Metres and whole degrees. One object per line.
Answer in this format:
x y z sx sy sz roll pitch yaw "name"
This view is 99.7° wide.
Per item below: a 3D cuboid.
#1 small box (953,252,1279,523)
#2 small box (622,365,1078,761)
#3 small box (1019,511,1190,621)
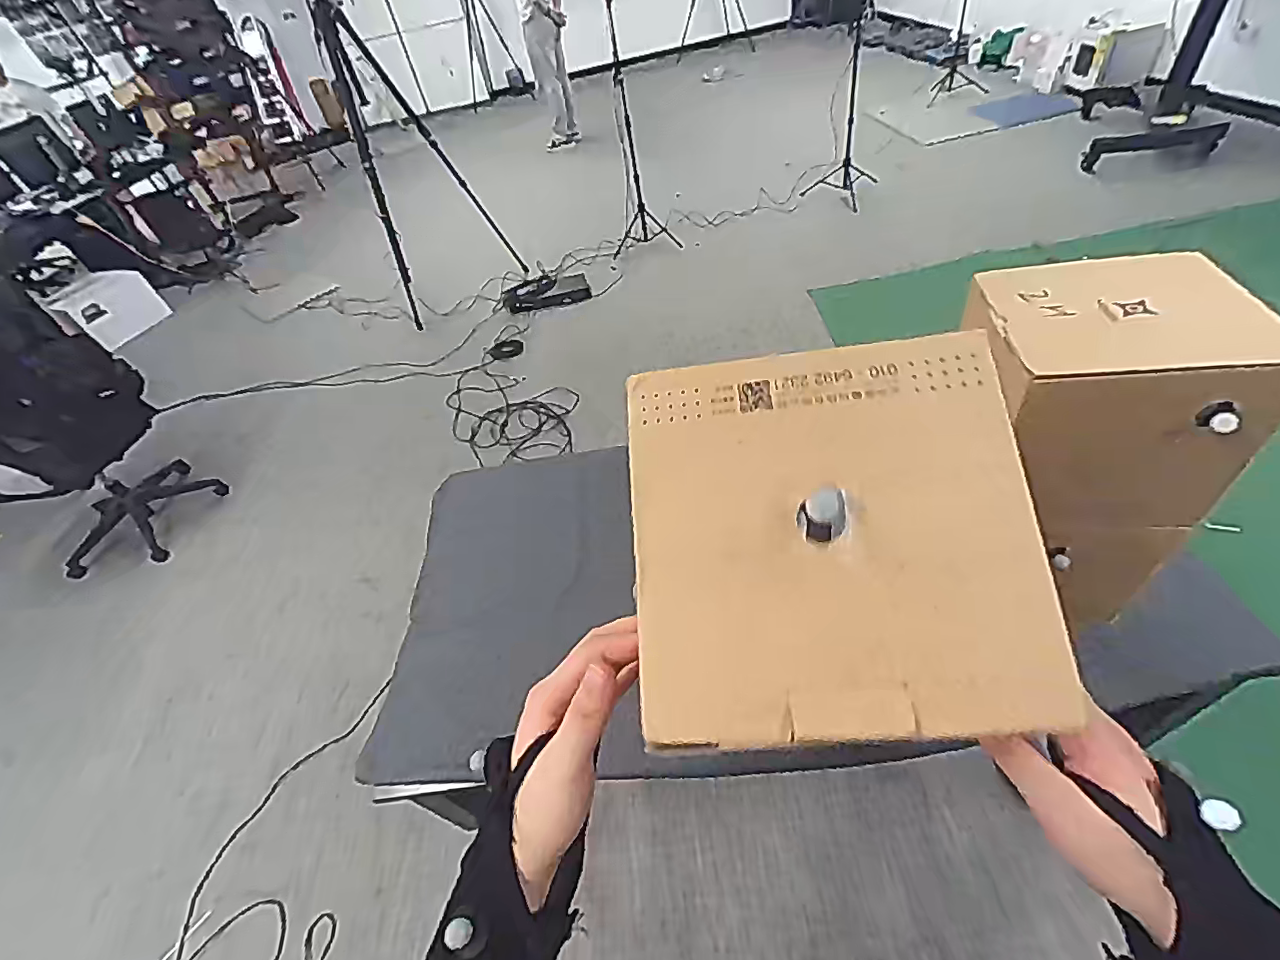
0.388 -0.075 0.478 0.179 0.176 0.168 -2 45 15 "small box"
0.087 0.044 0.305 0.168 0.179 0.176 -6 75 9 "small box"
0.416 0.041 0.592 0.179 0.176 0.168 -3 45 13 "small box"
